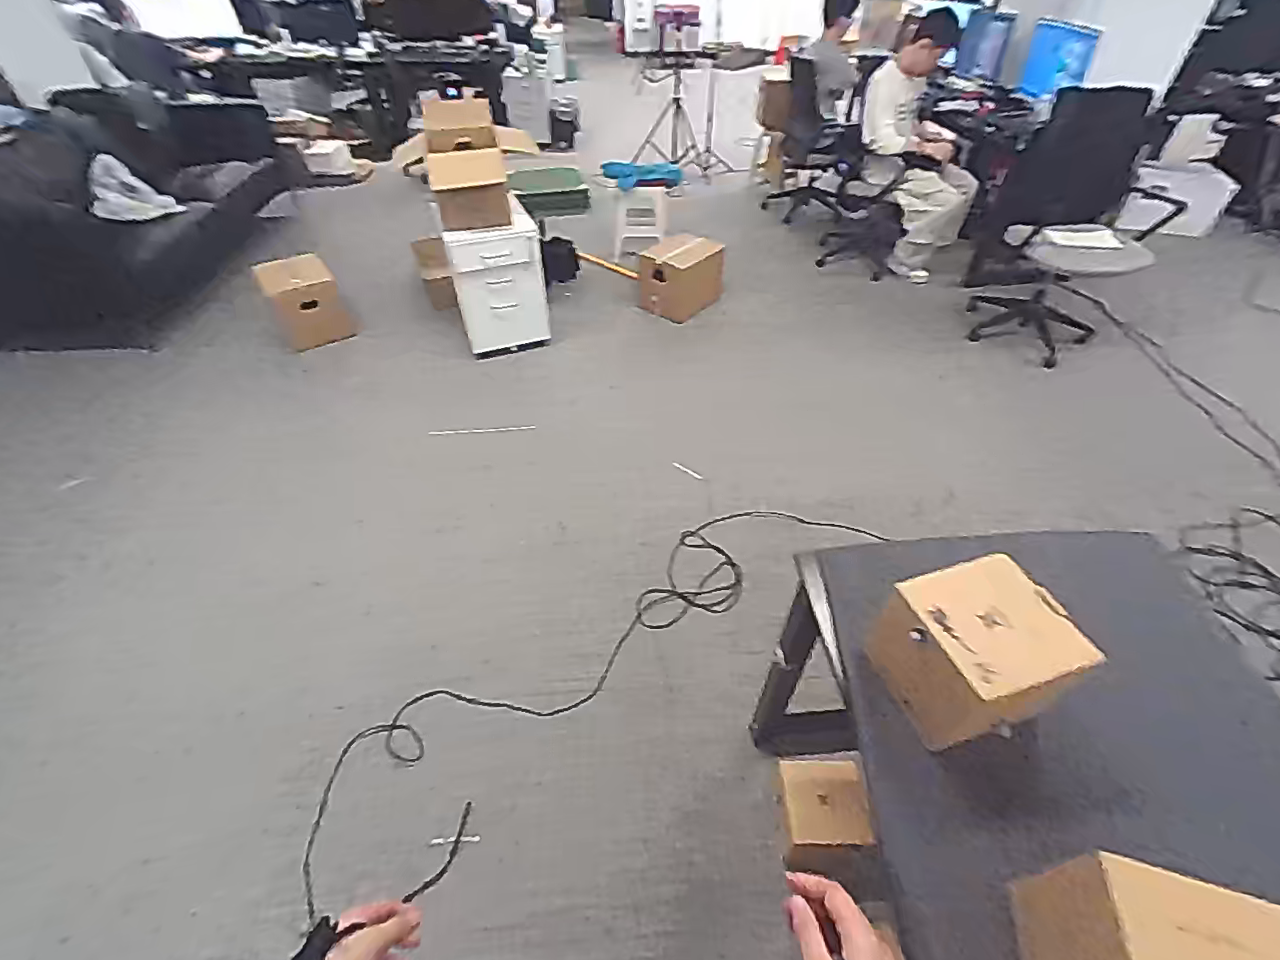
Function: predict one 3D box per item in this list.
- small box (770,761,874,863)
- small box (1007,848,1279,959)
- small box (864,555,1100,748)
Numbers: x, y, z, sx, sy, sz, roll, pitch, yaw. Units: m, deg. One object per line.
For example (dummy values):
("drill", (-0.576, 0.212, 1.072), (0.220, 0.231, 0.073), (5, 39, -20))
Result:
("small box", (0.402, 0.760, 1.235), (0.179, 0.176, 0.168), (1, 44, 0))
("small box", (0.469, 0.474, 0.483), (0.168, 0.176, 0.179), (13, 44, 9))
("small box", (0.440, 0.231, 0.730), (0.179, 0.176, 0.168), (-12, 46, -12))
